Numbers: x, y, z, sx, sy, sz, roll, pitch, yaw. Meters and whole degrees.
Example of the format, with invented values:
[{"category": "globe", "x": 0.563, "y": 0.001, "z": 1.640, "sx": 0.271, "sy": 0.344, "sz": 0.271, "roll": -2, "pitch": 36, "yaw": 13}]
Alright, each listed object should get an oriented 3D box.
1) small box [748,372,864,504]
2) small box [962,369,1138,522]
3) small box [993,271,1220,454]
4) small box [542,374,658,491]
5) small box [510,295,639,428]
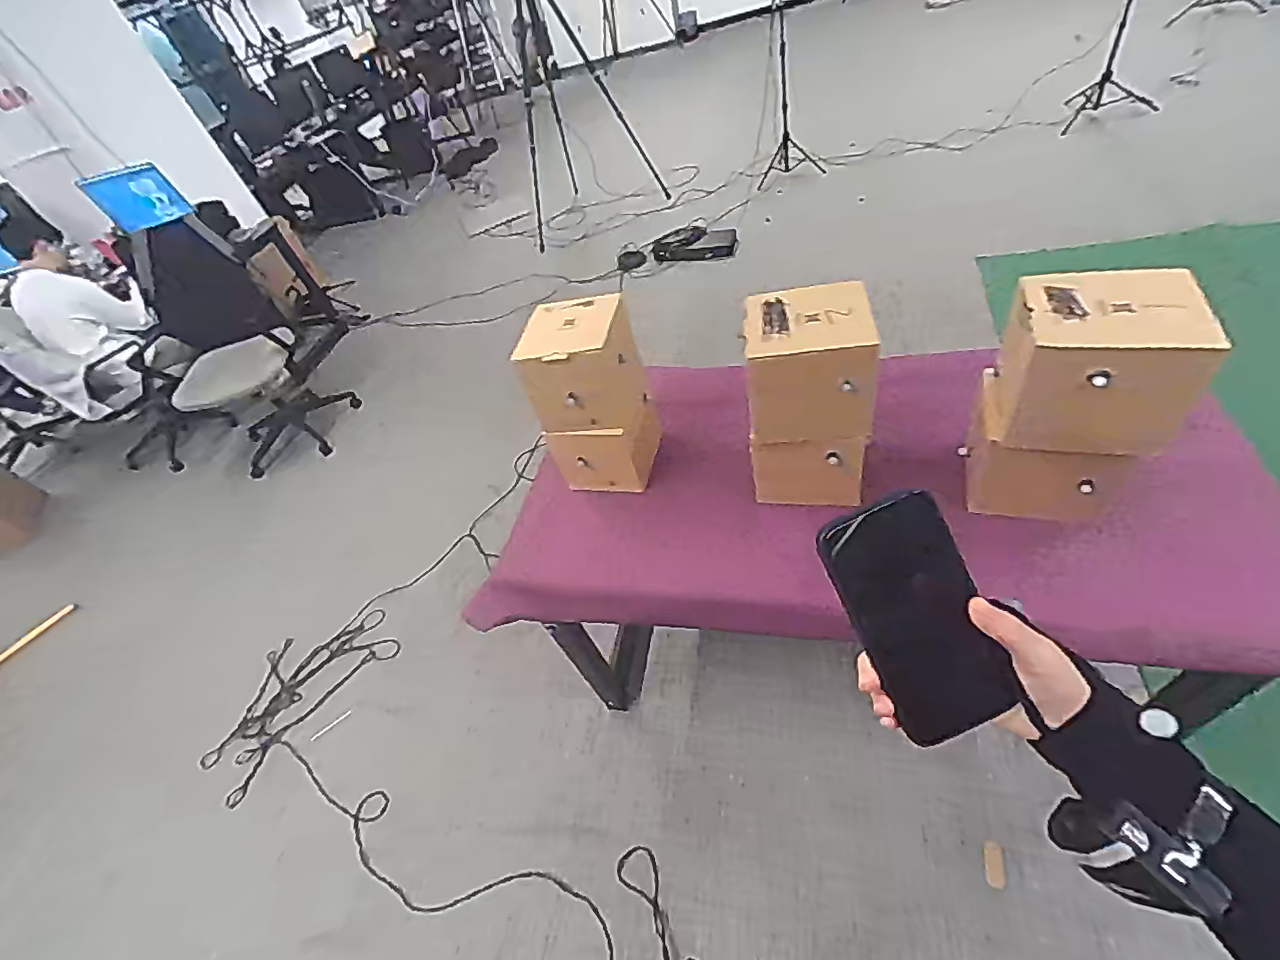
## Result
[{"category": "small box", "x": 0.294, "y": -0.071, "z": 0.953, "sx": 0.179, "sy": 0.176, "sz": 0.168, "roll": 1, "pitch": 49, "yaw": 19}, {"category": "small box", "x": 0.613, "y": -0.053, "z": 0.834, "sx": 0.179, "sy": 0.176, "sz": 0.168, "roll": 6, "pitch": 50, "yaw": 24}, {"category": "small box", "x": 0.578, "y": -0.150, "z": 0.705, "sx": 0.179, "sy": 0.176, "sz": 0.168, "roll": 6, "pitch": 50, "yaw": 23}, {"category": "small box", "x": -0.070, "y": -0.092, "z": 1.096, "sx": 0.168, "sy": 0.176, "sz": 0.179, "roll": 2, "pitch": 49, "yaw": 20}, {"category": "small box", "x": -0.107, "y": -0.208, "z": 0.984, "sx": 0.168, "sy": 0.176, "sz": 0.179, "roll": -2, "pitch": 48, "yaw": 16}]
